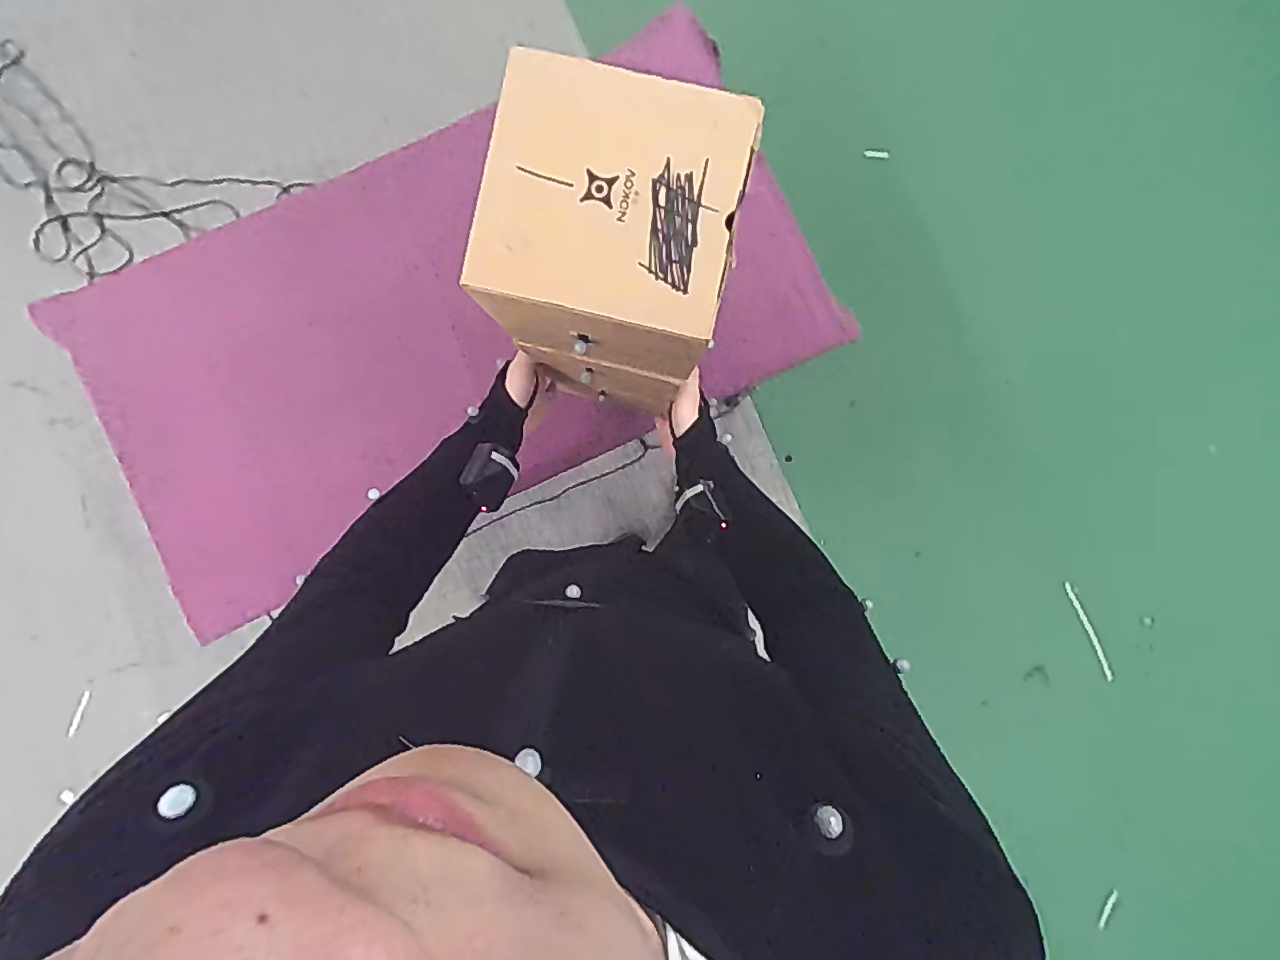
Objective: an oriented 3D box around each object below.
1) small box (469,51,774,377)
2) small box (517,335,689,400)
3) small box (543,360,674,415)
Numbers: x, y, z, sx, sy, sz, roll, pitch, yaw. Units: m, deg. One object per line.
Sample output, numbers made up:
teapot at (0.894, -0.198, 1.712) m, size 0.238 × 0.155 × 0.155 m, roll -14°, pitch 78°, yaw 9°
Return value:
small box at (-0.013, -0.188, 0.441) m, size 0.179 × 0.176 × 0.168 m, roll 13°, pitch 92°, yaw 0°
small box at (-0.016, -0.193, 0.606) m, size 0.179 × 0.176 × 0.168 m, roll 15°, pitch 93°, yaw 0°
small box at (-0.019, -0.197, 0.769) m, size 0.179 × 0.176 × 0.168 m, roll 17°, pitch 92°, yaw -1°
